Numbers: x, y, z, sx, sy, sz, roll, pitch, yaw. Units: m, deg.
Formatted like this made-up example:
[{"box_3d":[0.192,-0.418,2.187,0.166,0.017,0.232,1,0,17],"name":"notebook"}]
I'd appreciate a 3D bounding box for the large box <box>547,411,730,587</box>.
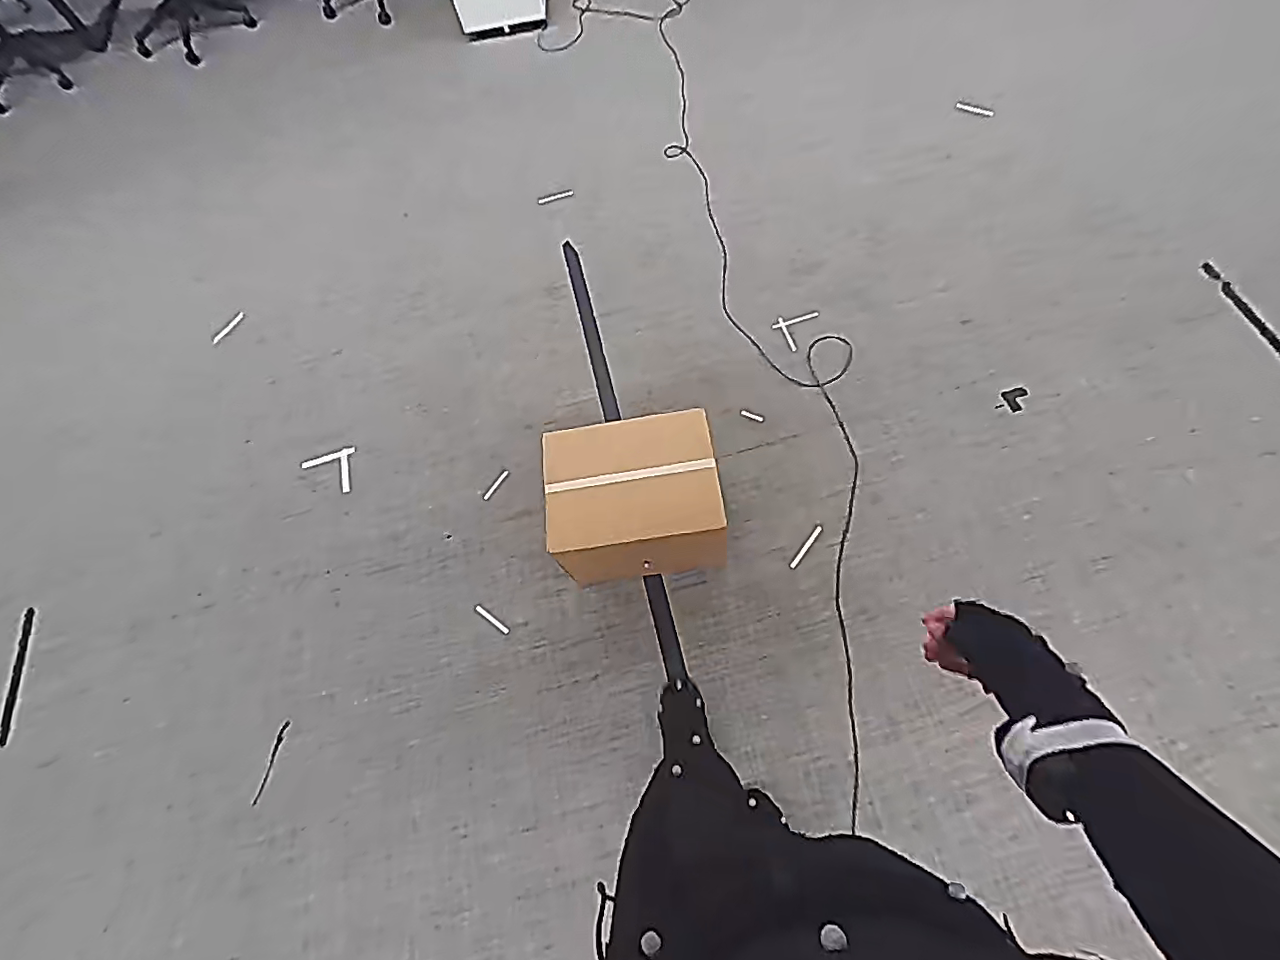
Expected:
[{"box_3d":[0.001,0.063,1.384,0.408,0.320,0.320,-9,66,3],"name":"large box"}]
